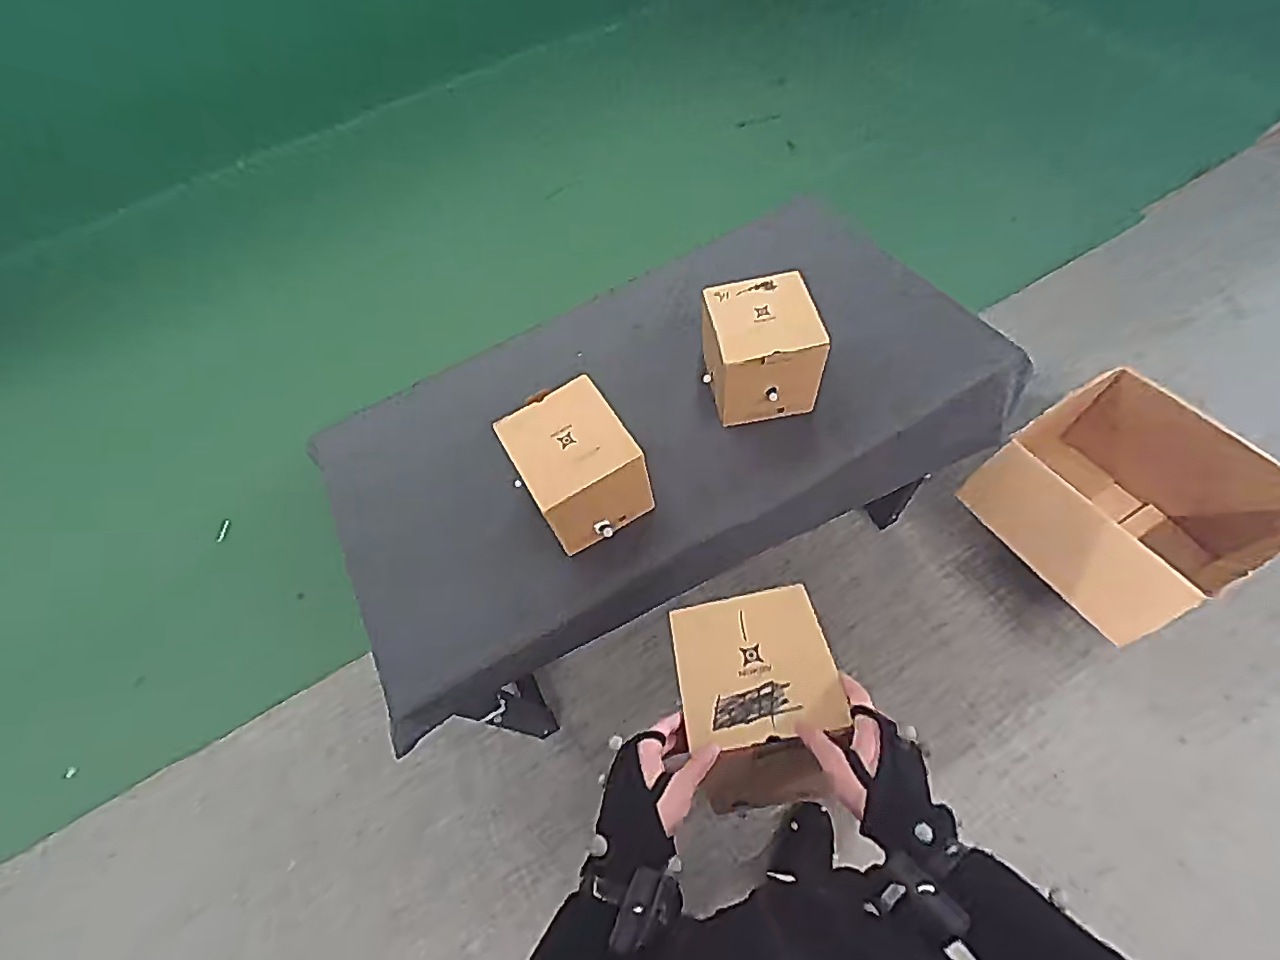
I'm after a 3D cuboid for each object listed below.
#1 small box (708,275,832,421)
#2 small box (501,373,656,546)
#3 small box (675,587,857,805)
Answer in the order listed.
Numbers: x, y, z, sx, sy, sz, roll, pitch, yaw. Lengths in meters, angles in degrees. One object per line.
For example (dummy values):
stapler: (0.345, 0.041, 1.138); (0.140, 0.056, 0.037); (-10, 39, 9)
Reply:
small box: (0.216, -0.219, 0.939); (0.168, 0.176, 0.179); (-9, 60, 2)
small box: (-0.090, -0.027, 0.851); (0.168, 0.176, 0.179); (-30, 61, -10)
small box: (0.146, 0.260, 0.640); (0.168, 0.176, 0.179); (-13, 39, 5)
